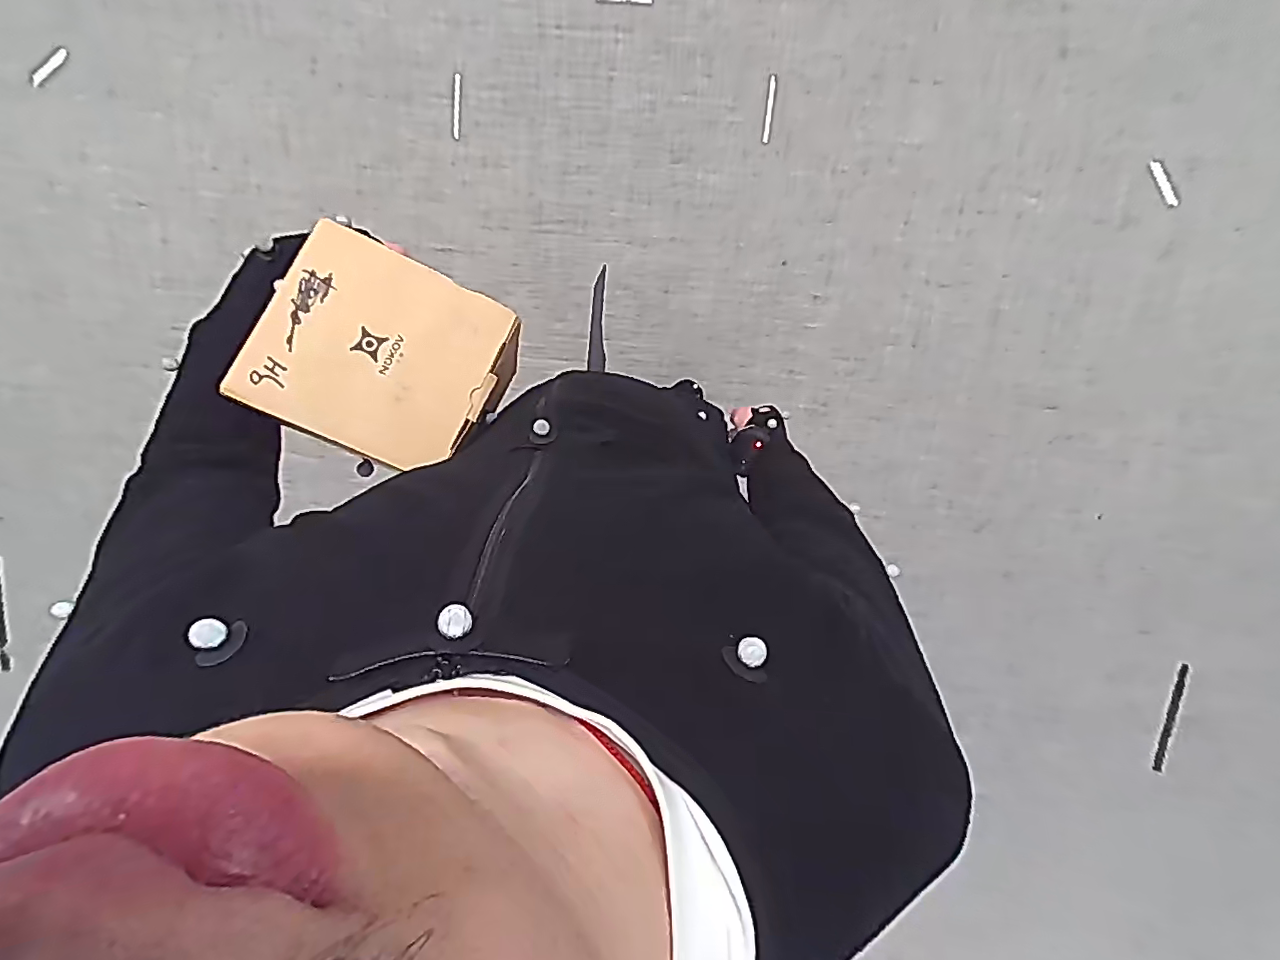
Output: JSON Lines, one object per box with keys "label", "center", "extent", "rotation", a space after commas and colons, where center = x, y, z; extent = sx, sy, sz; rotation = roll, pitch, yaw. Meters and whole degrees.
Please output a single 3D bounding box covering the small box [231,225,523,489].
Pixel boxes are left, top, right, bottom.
{"label": "small box", "center": [-0.231, -0.098, 0.526], "extent": [0.179, 0.176, 0.168], "rotation": [25, 79, -12]}
